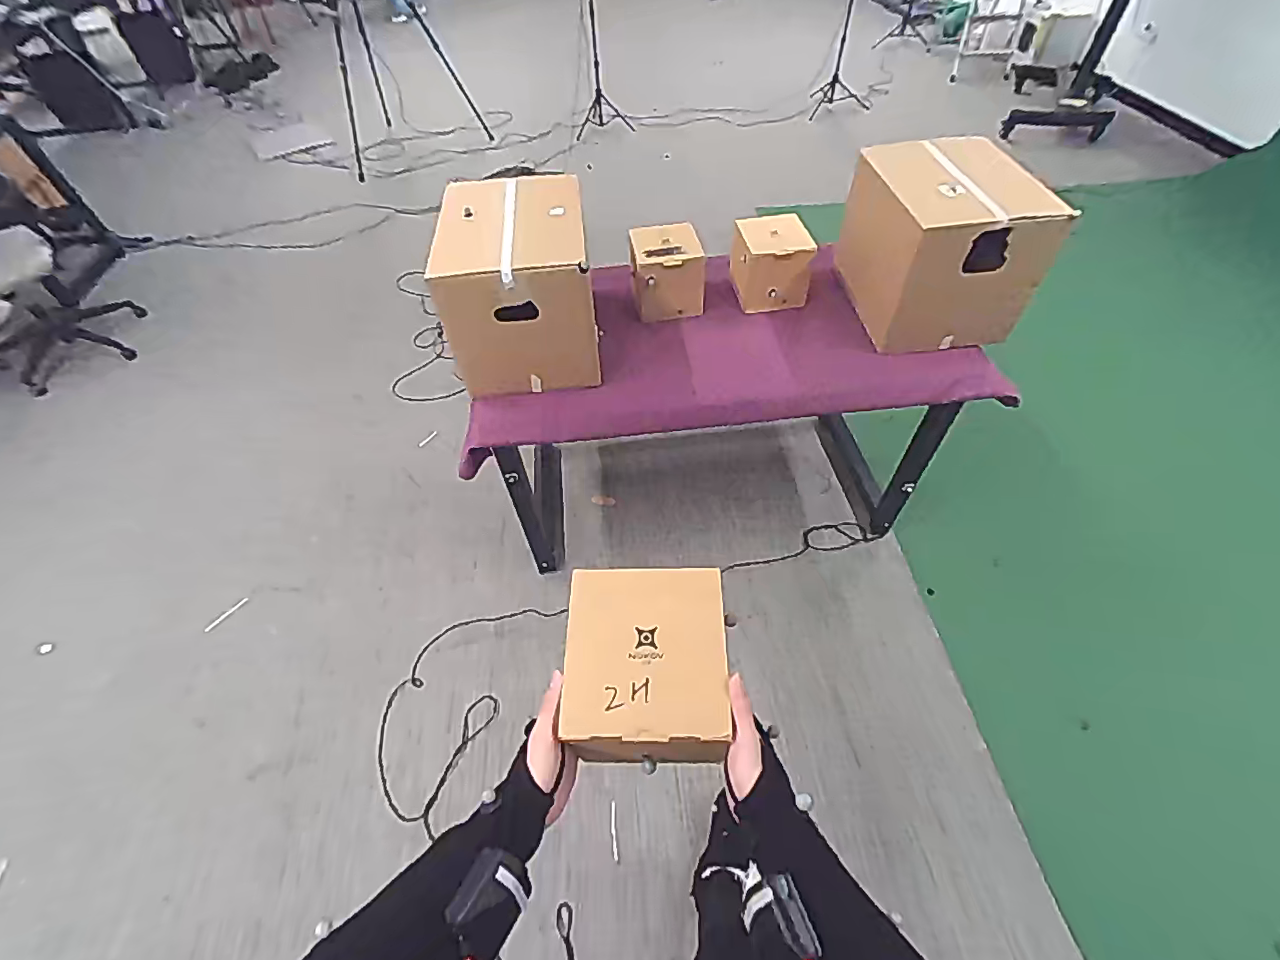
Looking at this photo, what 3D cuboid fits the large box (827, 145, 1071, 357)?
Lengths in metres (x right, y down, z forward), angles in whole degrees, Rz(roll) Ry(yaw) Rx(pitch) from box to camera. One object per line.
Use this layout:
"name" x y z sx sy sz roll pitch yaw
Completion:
"large box" 0.693 -0.555 1.307 0.320 0.320 0.408 -6 52 0

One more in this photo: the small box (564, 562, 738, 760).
"small box" 0.014 0.208 0.616 0.168 0.176 0.179 -1 56 3
